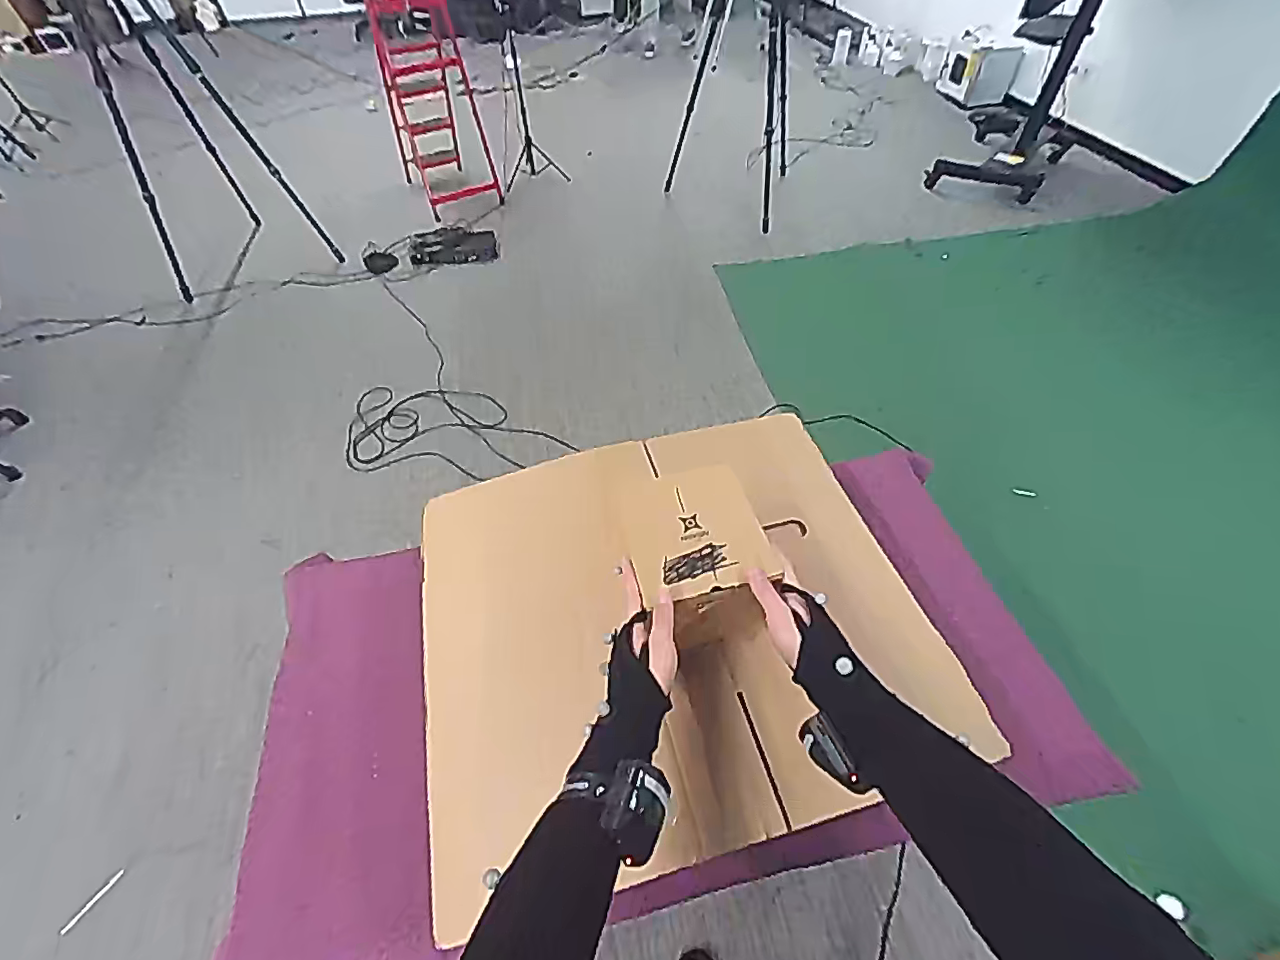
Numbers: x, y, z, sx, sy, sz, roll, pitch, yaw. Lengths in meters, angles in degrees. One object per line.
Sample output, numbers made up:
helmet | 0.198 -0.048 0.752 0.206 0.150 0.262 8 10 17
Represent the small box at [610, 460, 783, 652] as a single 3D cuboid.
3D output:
small box | 0.062 0.105 0.701 0.168 0.176 0.179 -12 51 -10
